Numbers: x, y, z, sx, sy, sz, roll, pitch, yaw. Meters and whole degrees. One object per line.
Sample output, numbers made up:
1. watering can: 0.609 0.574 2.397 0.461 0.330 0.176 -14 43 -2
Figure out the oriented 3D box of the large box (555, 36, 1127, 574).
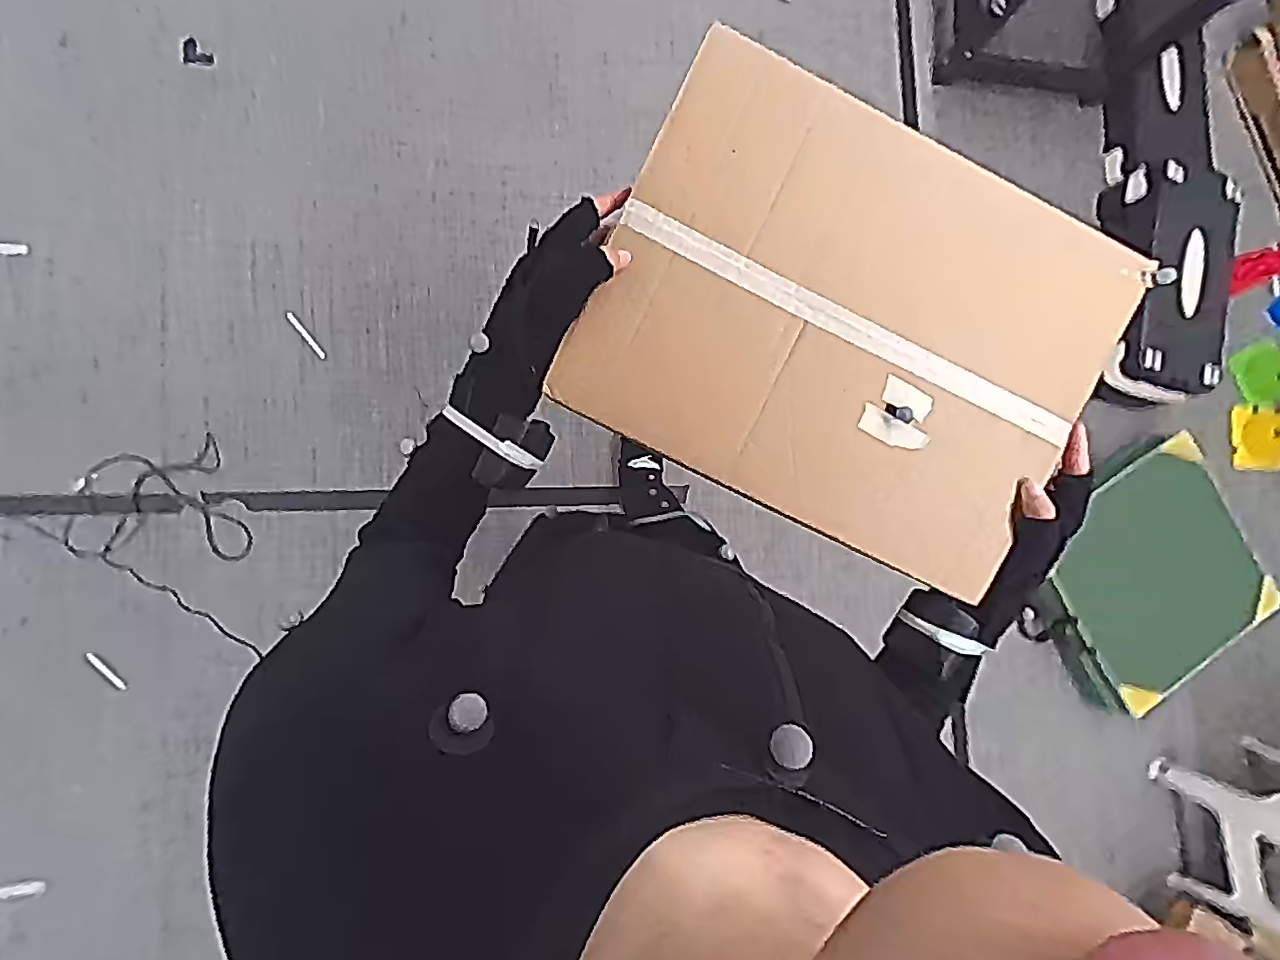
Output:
1. large box: 0.161 -0.147 0.597 0.408 0.320 0.320 26 95 -5
